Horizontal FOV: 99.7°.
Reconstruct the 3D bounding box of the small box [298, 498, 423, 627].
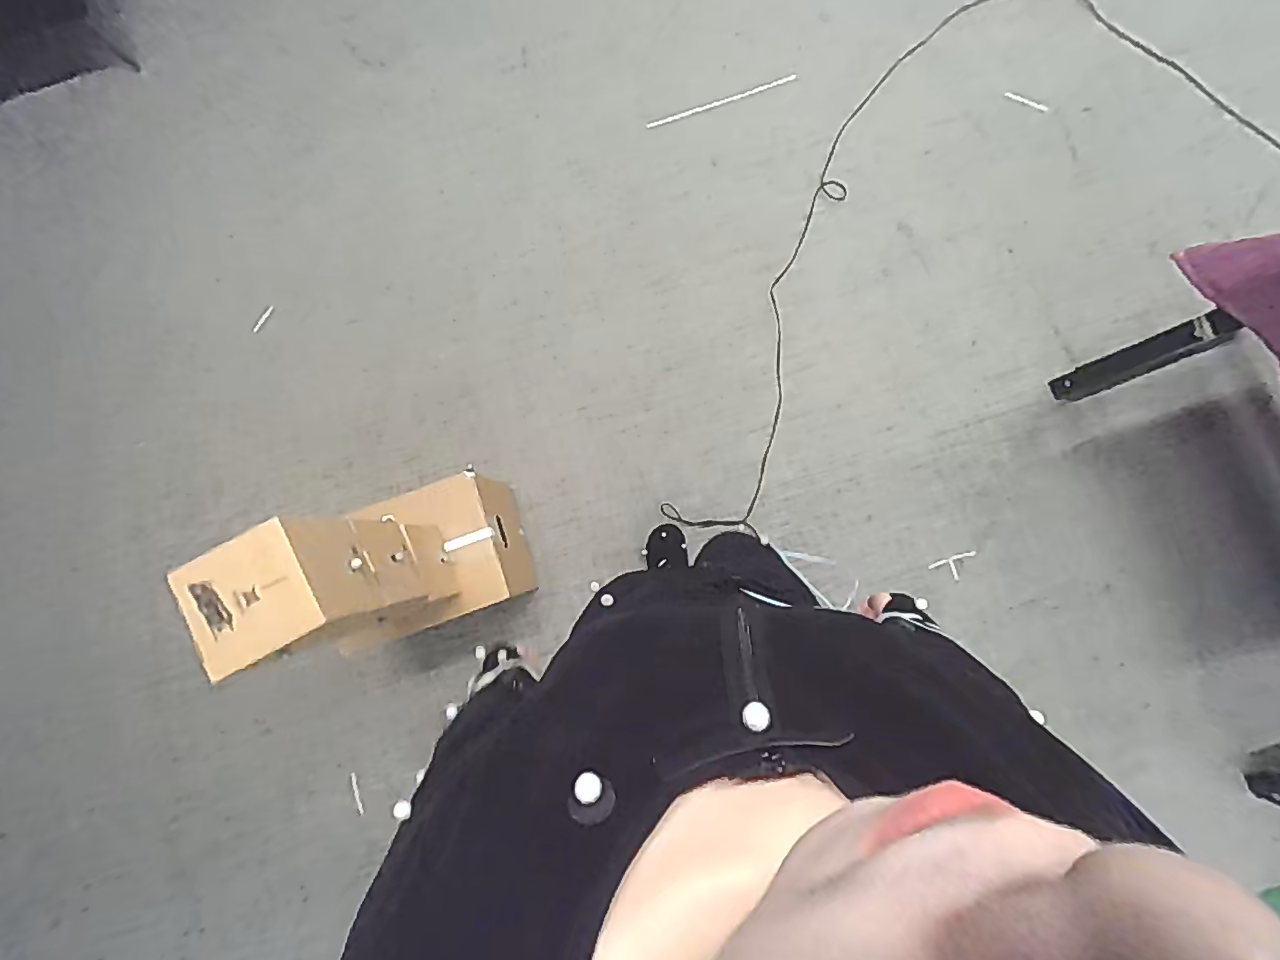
[{"bbox_3d":[-0.523,0.144,0.987,0.179,0.176,0.168,-26,84,-1],"label":"small box"}]
